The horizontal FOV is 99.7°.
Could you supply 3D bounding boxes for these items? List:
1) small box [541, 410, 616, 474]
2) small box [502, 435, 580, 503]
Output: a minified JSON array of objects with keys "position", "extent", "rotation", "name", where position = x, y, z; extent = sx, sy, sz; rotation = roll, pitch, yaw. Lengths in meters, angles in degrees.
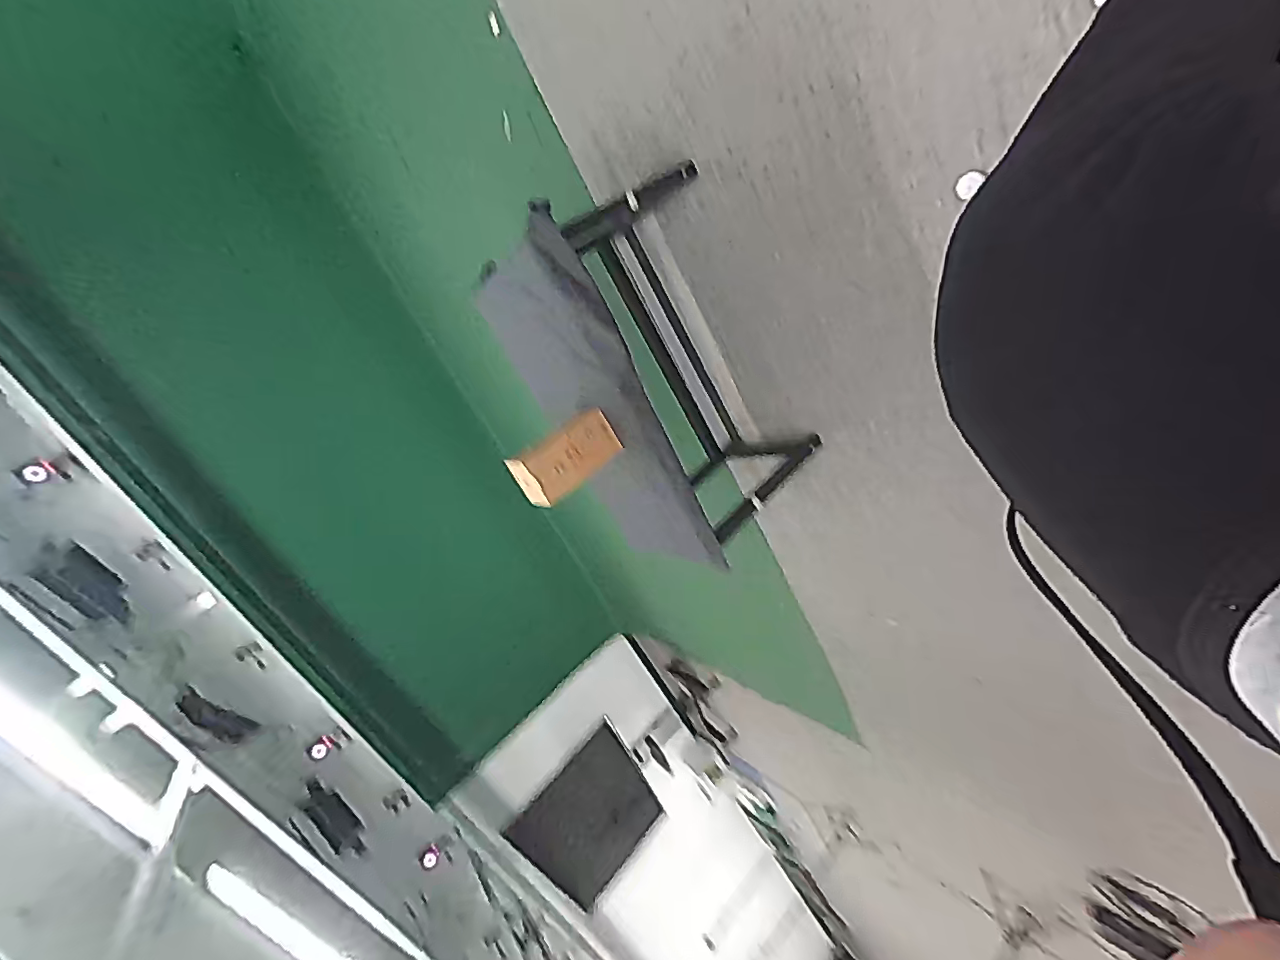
[{"position":[-0.208,-0.134,1.884],"extent":[0.179,0.176,0.168],"rotation":[2,125,59],"name":"small box"},{"position":[-0.326,-0.040,1.817],"extent":[0.179,0.176,0.168],"rotation":[2,124,56],"name":"small box"}]
